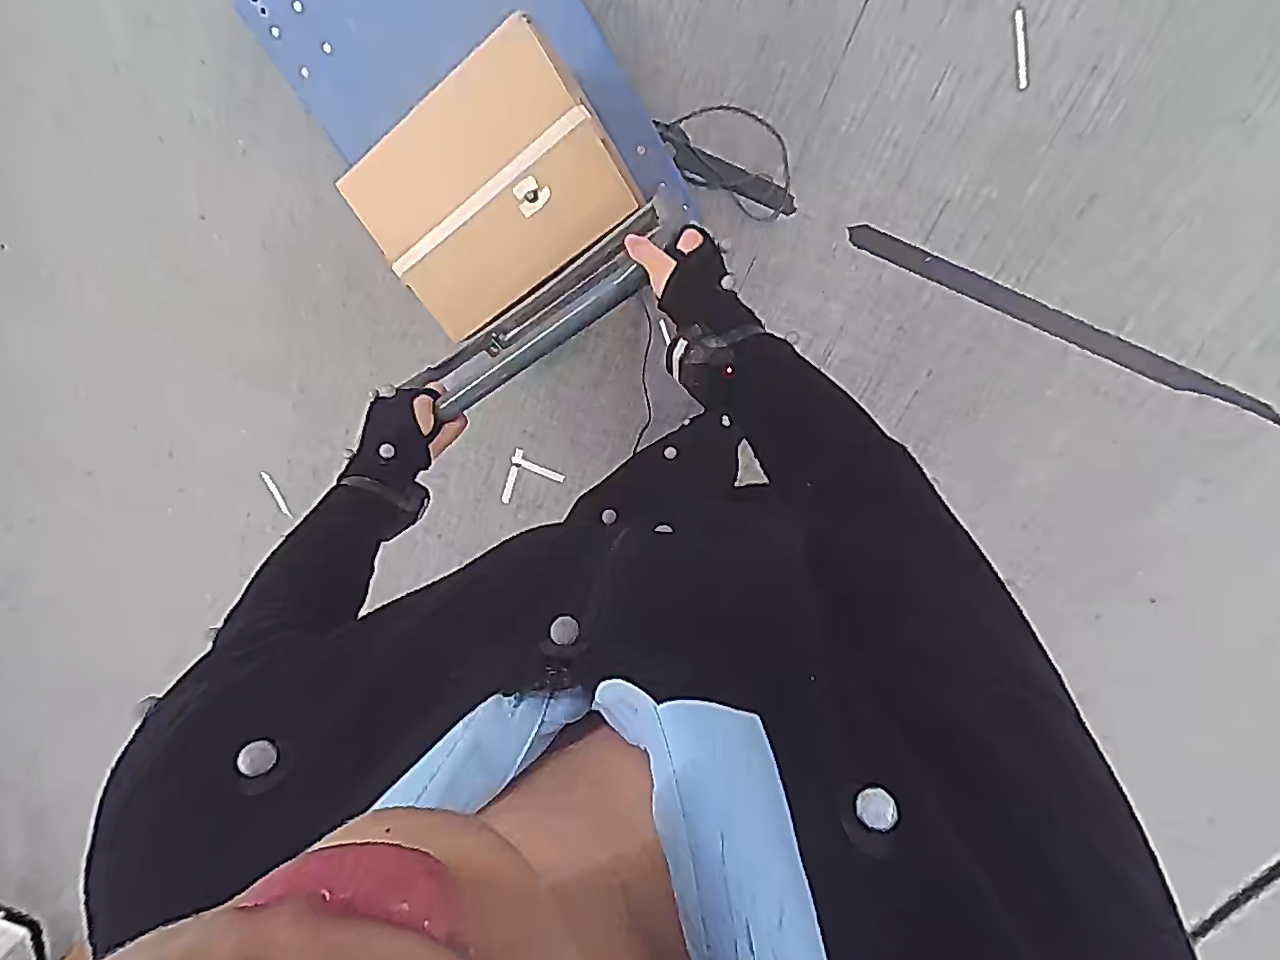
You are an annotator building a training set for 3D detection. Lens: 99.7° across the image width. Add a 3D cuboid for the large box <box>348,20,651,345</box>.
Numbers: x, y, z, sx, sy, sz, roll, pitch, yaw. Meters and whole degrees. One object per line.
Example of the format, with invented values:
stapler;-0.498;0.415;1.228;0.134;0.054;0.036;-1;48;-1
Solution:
large box;-0.233;-0.512;1.022;0.408;0.320;0.320;-31;107;16
